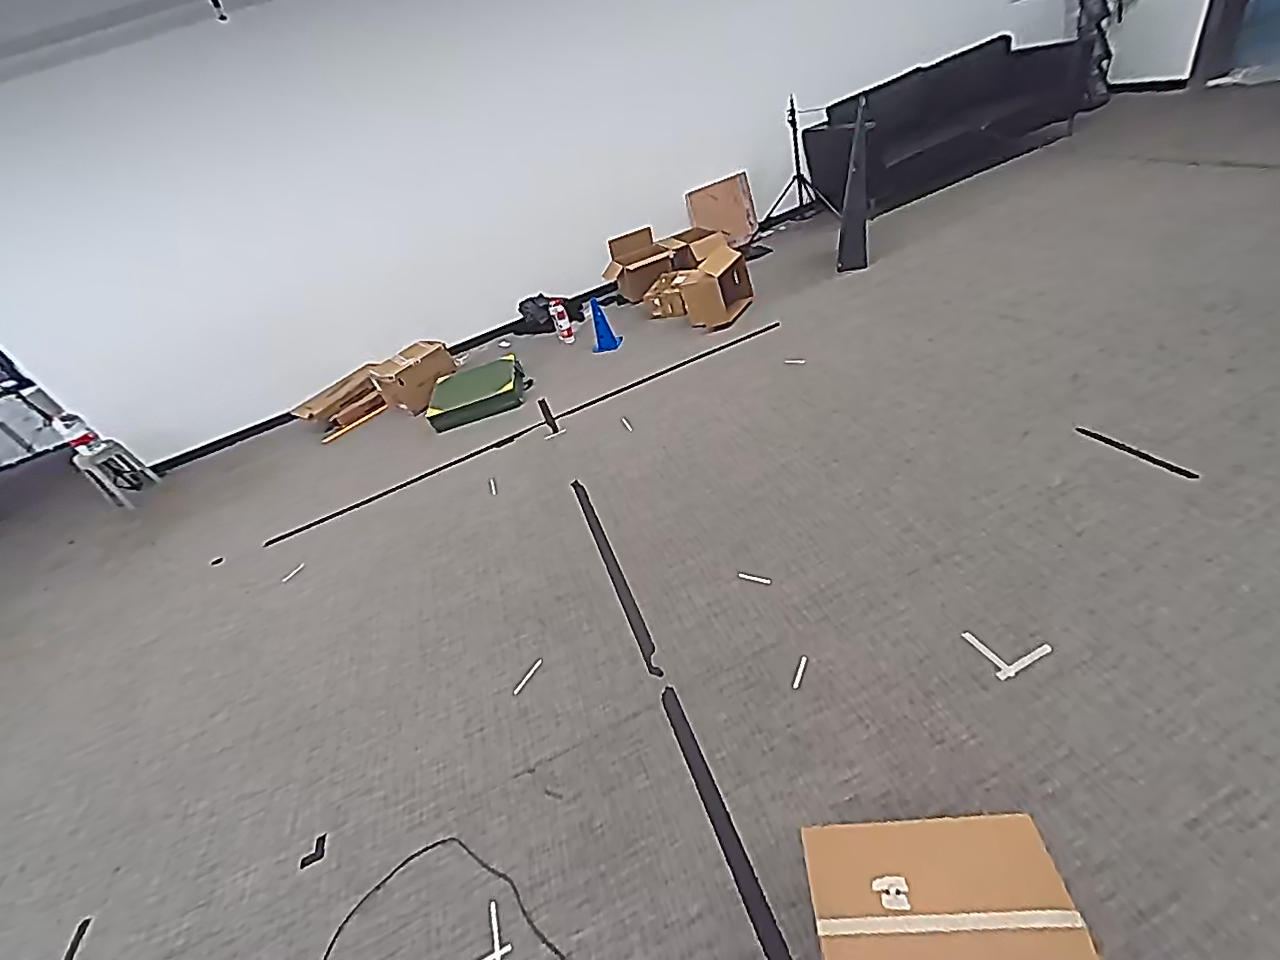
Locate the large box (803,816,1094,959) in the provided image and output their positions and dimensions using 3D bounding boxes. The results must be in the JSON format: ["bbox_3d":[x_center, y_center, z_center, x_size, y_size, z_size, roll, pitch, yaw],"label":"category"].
[{"bbox_3d":[0.545,0.855,0.978,0.408,0.320,0.320,-12,35,12],"label":"large box"}]
